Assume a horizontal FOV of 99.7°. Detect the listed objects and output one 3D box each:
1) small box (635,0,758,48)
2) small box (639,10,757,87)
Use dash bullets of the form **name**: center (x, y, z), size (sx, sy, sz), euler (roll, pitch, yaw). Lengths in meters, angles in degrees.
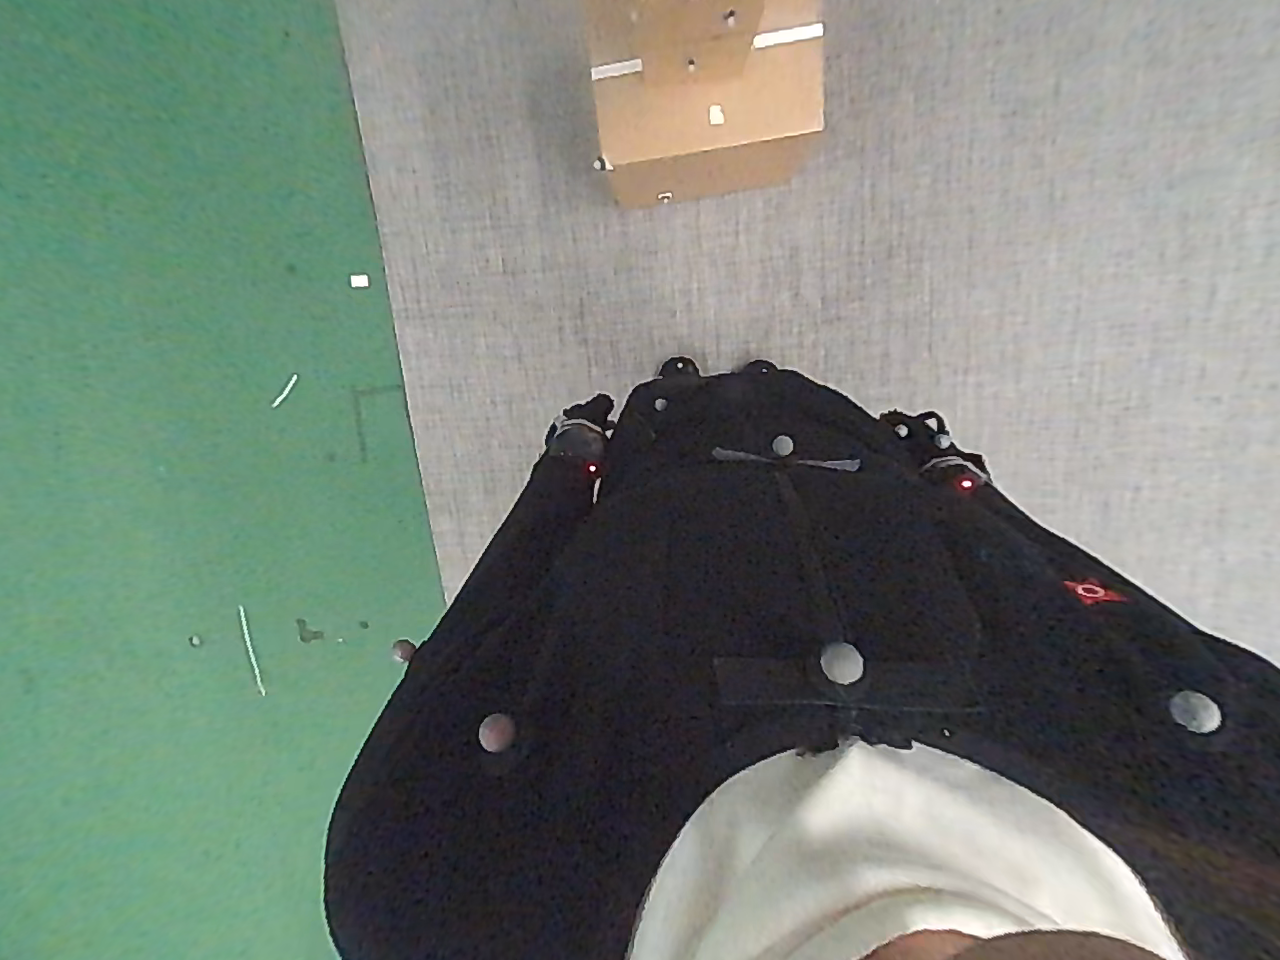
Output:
- **small box**: center (0.070, -0.705, 0.709), size (0.168, 0.176, 0.179), euler (-6, 108, 6)
- **small box**: center (0.084, -0.760, 0.861), size (0.179, 0.176, 0.168), euler (-5, 109, 6)
